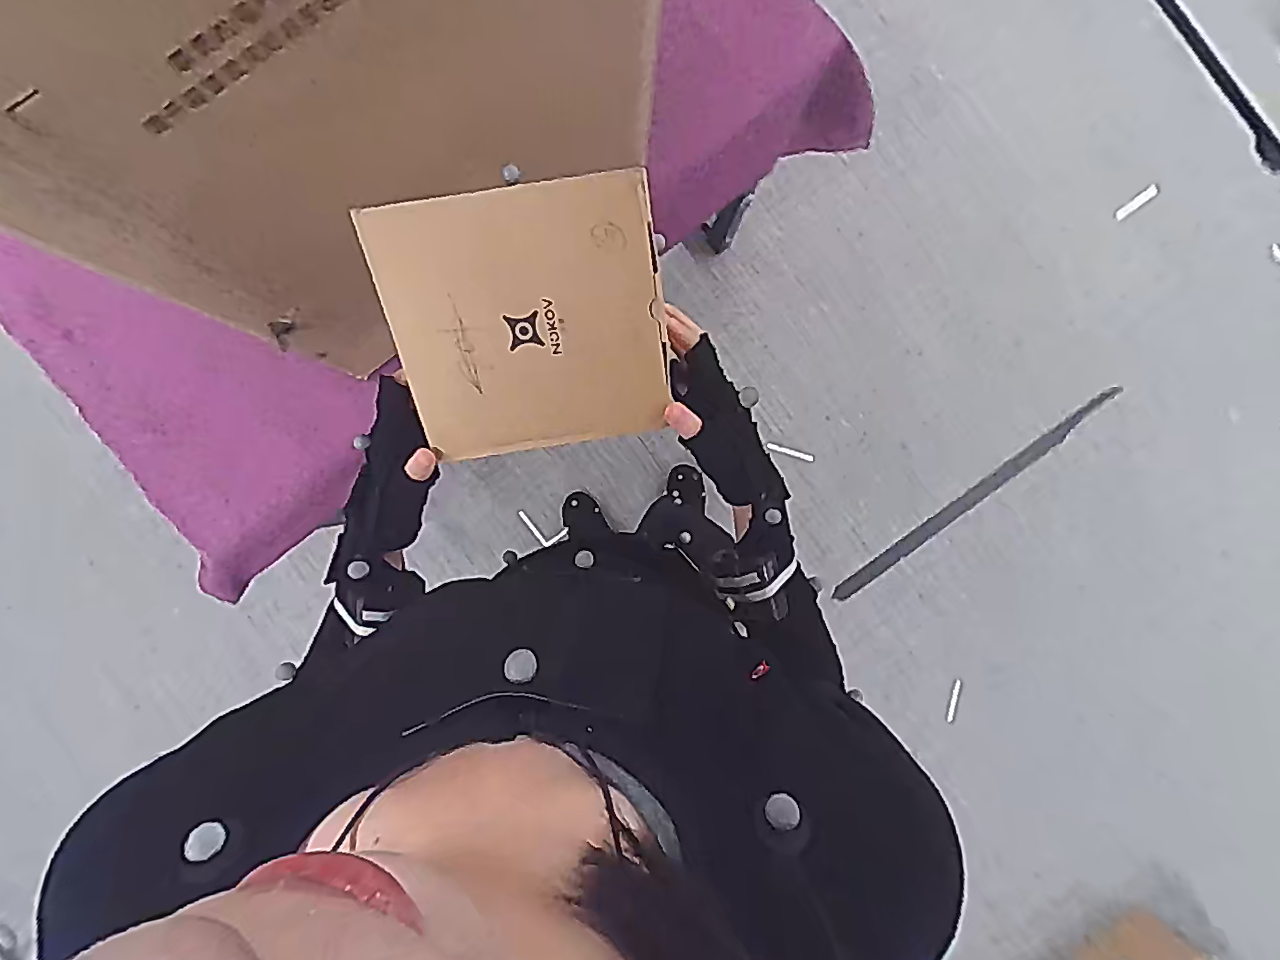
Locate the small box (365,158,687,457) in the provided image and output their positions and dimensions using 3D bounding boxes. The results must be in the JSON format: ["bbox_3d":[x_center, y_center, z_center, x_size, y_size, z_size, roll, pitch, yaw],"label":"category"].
[{"bbox_3d":[-0.069,-0.135,0.414,0.179,0.176,0.168,-9,115,0],"label":"small box"}]
